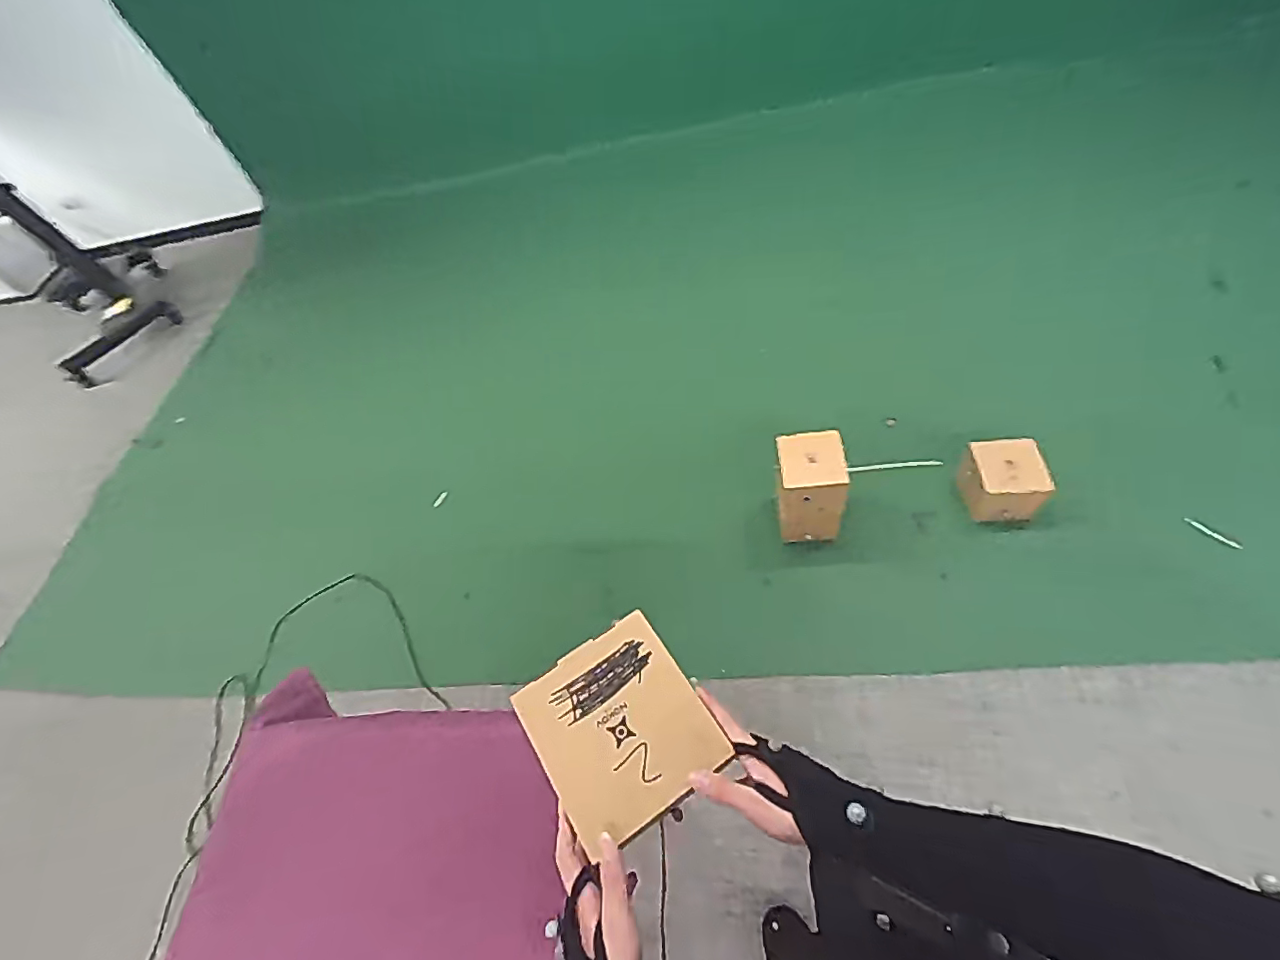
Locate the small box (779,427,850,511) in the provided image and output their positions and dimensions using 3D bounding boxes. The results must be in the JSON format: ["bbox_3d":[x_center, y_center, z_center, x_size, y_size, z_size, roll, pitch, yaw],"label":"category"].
[{"bbox_3d":[0.488,-0.022,1.527,0.168,0.176,0.179,-6,56,11],"label":"small box"}]

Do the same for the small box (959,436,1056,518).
[{"bbox_3d":[1.055,-0.006,1.572,0.168,0.176,0.179,-4,58,11],"label":"small box"}]

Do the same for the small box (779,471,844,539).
[{"bbox_3d":[0.519,0.064,1.661,0.168,0.176,0.179,-6,57,11],"label":"small box"}]
